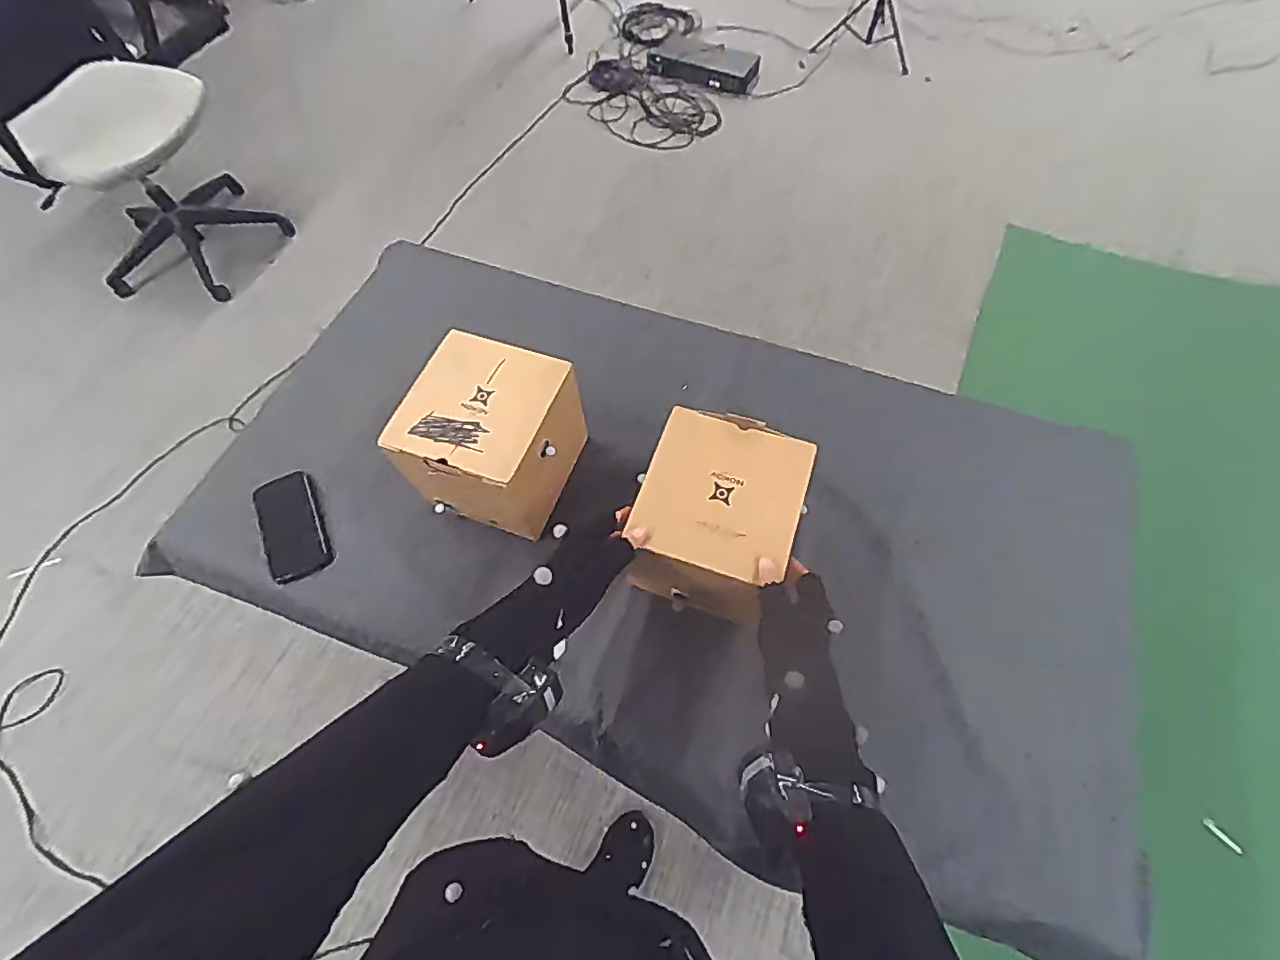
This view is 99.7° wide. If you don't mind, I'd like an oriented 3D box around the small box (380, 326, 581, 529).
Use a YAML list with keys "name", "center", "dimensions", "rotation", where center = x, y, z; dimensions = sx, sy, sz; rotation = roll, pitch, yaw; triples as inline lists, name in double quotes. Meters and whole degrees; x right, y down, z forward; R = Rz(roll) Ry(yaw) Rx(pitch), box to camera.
- name: "small box"
  center: [-0.185, -0.059, 0.693]
  dimensions: [0.168, 0.176, 0.179]
  rotation: [18, 65, 9]

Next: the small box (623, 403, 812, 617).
- name: "small box"
  center: [0.087, 0.042, 0.642]
  dimensions: [0.168, 0.176, 0.179]
  rotation: [16, 67, 10]
